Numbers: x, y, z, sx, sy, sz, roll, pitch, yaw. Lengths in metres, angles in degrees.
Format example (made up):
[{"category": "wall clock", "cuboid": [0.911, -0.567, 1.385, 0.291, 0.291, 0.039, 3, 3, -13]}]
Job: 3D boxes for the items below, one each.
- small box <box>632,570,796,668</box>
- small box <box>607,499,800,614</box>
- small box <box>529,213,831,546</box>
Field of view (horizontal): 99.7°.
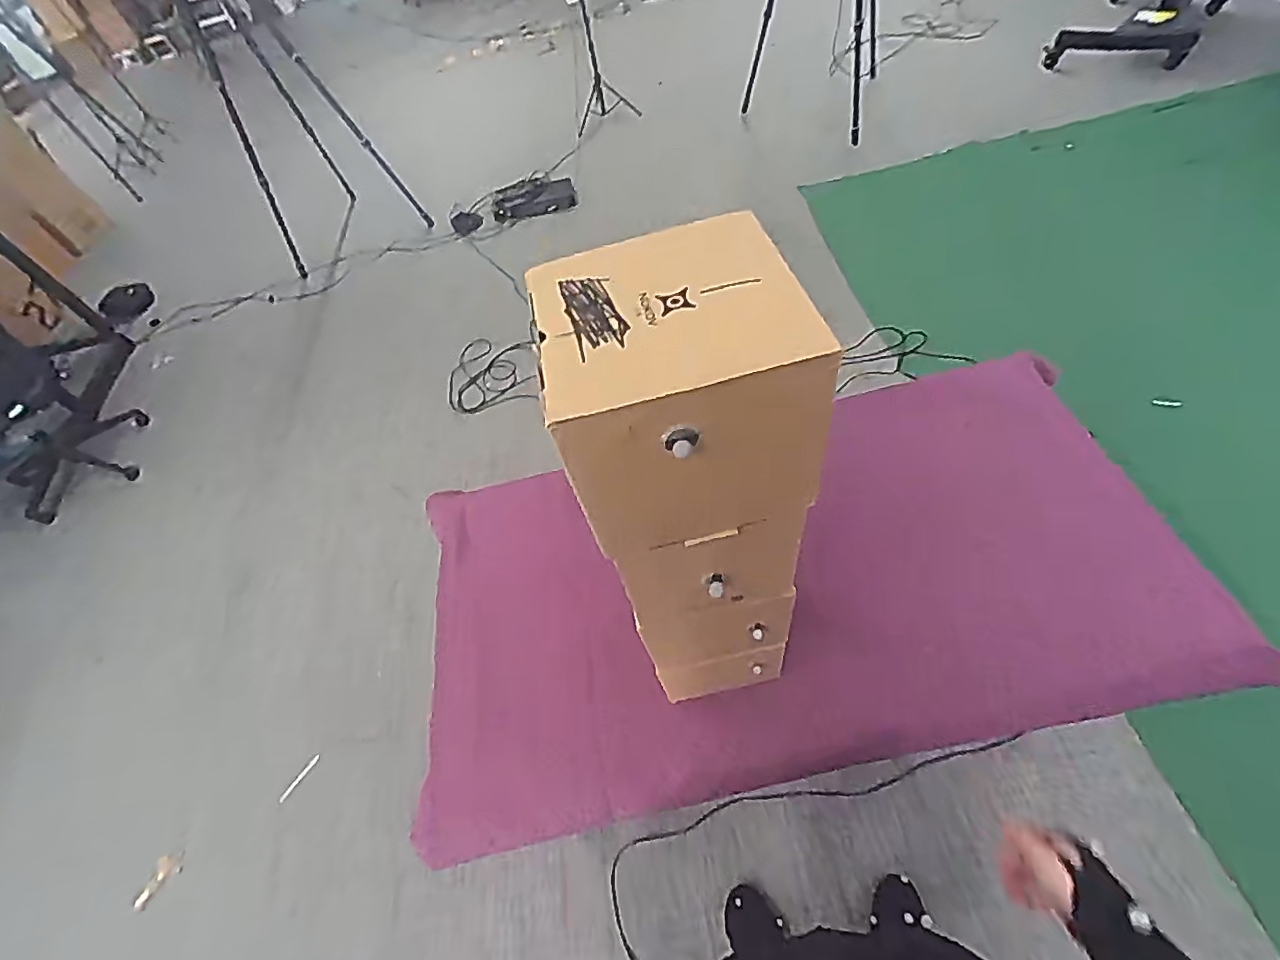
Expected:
[{"category": "small box", "cuboid": [0.081, 0.120, 0.683, 0.179, 0.176, 0.168, -14, 54, 2]}, {"category": "small box", "cuboid": [0.052, 0.023, 0.555, 0.168, 0.176, 0.179, -14, 54, 1]}, {"category": "small box", "cuboid": [0.027, -0.069, 0.420, 0.179, 0.176, 0.168, -14, 53, 1]}]
